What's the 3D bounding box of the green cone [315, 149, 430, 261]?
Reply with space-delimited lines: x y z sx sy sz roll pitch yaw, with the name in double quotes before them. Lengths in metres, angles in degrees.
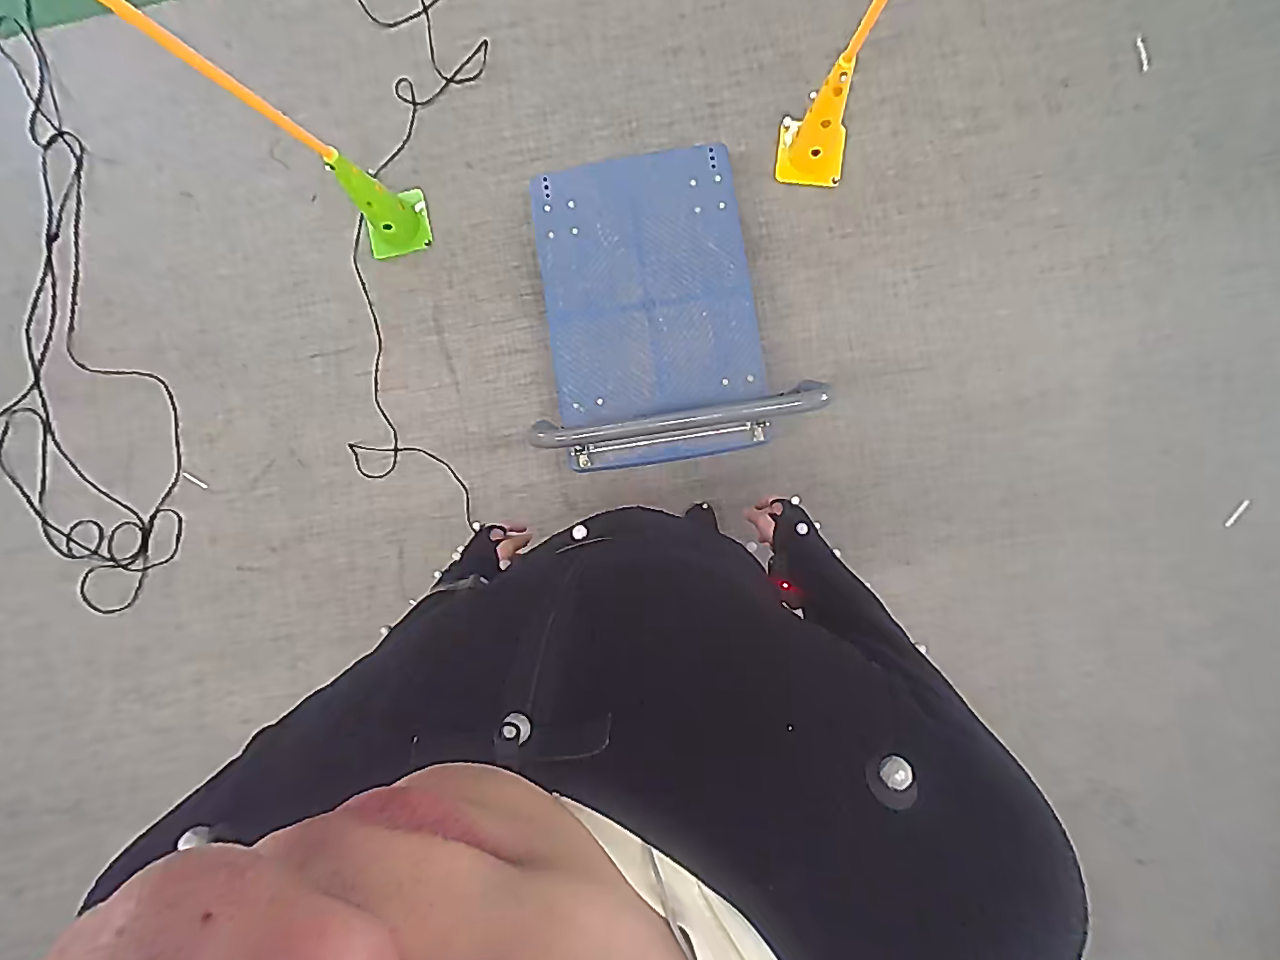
"green cone" -0.801 -0.832 1.572 0.202 0.368 0.200 -14 86 4
